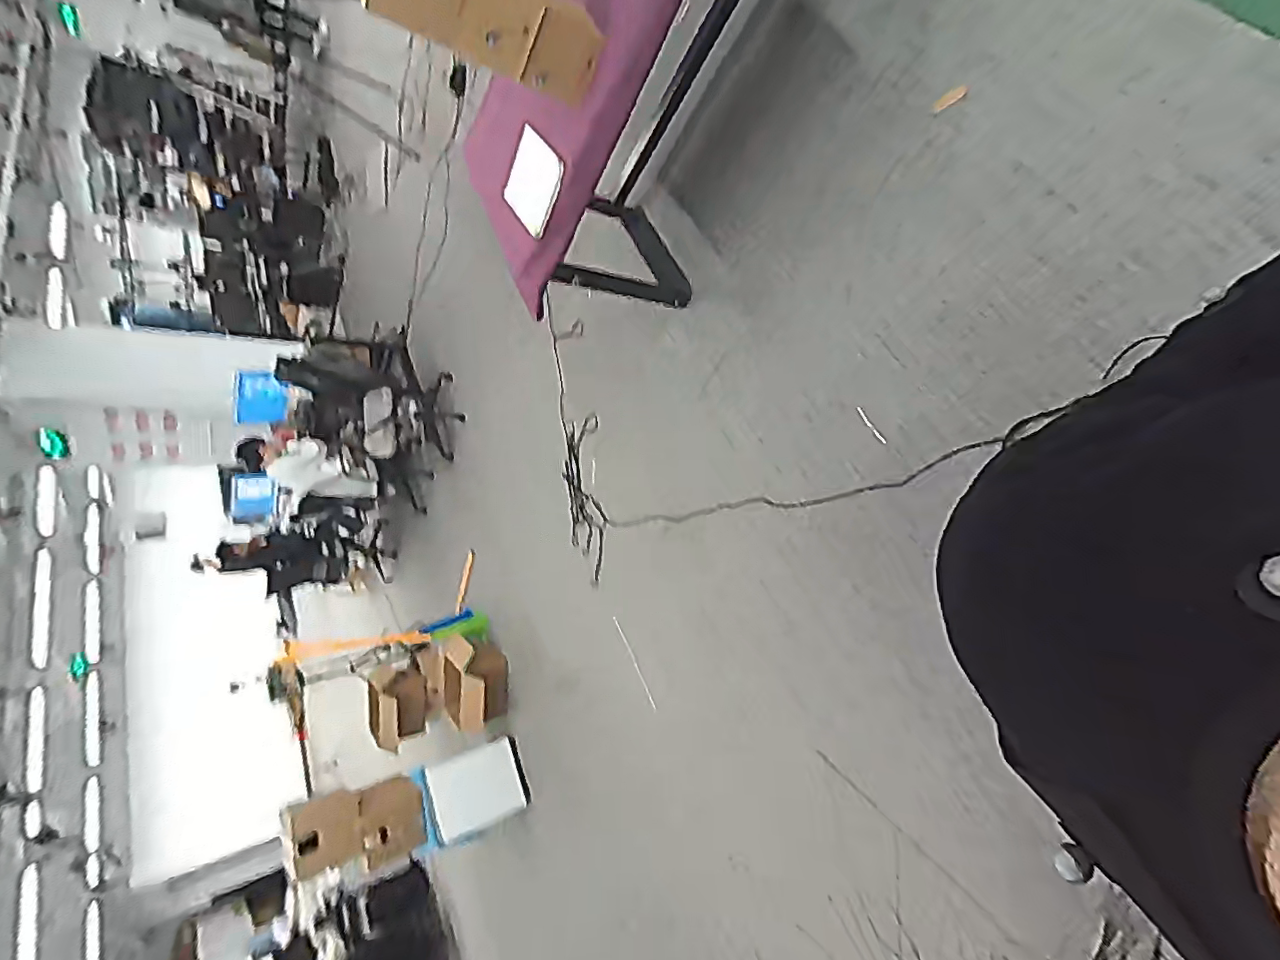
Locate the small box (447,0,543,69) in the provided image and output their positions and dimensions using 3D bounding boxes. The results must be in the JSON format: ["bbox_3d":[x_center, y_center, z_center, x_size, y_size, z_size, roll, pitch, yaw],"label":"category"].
[{"bbox_3d":[-0.333,-1.045,1.179,0.168,0.176,0.179,-47,58,42],"label":"small box"}]

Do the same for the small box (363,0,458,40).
[{"bbox_3d":[-0.453,-1.036,1.066,0.179,0.176,0.168,-44,59,43],"label":"small box"}]
